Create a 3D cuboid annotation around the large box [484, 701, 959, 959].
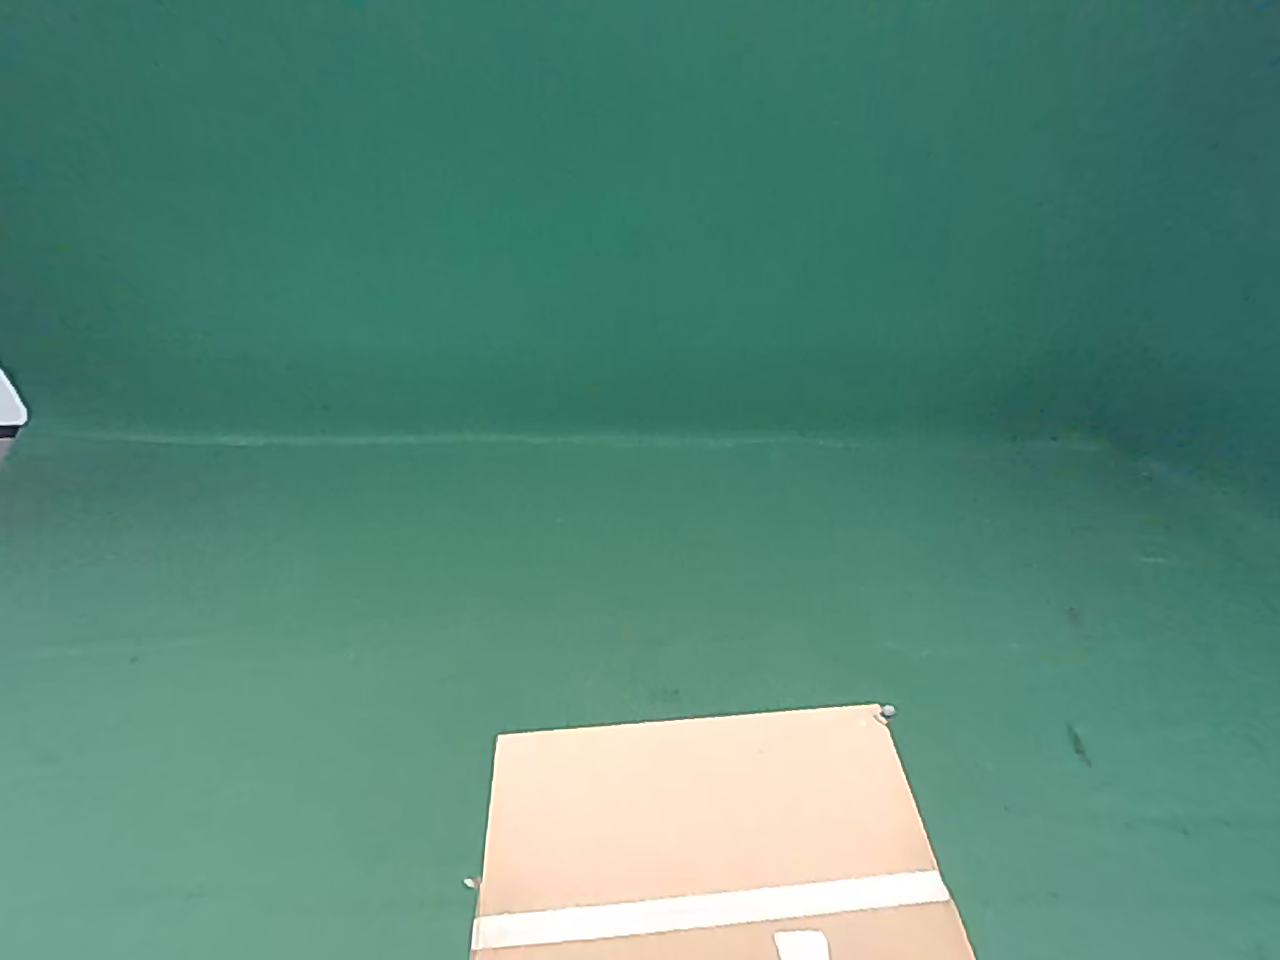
[{"bbox_3d":[0.062,0.468,0.587,0.408,0.320,0.320,-4,49,-3],"label":"large box"}]
